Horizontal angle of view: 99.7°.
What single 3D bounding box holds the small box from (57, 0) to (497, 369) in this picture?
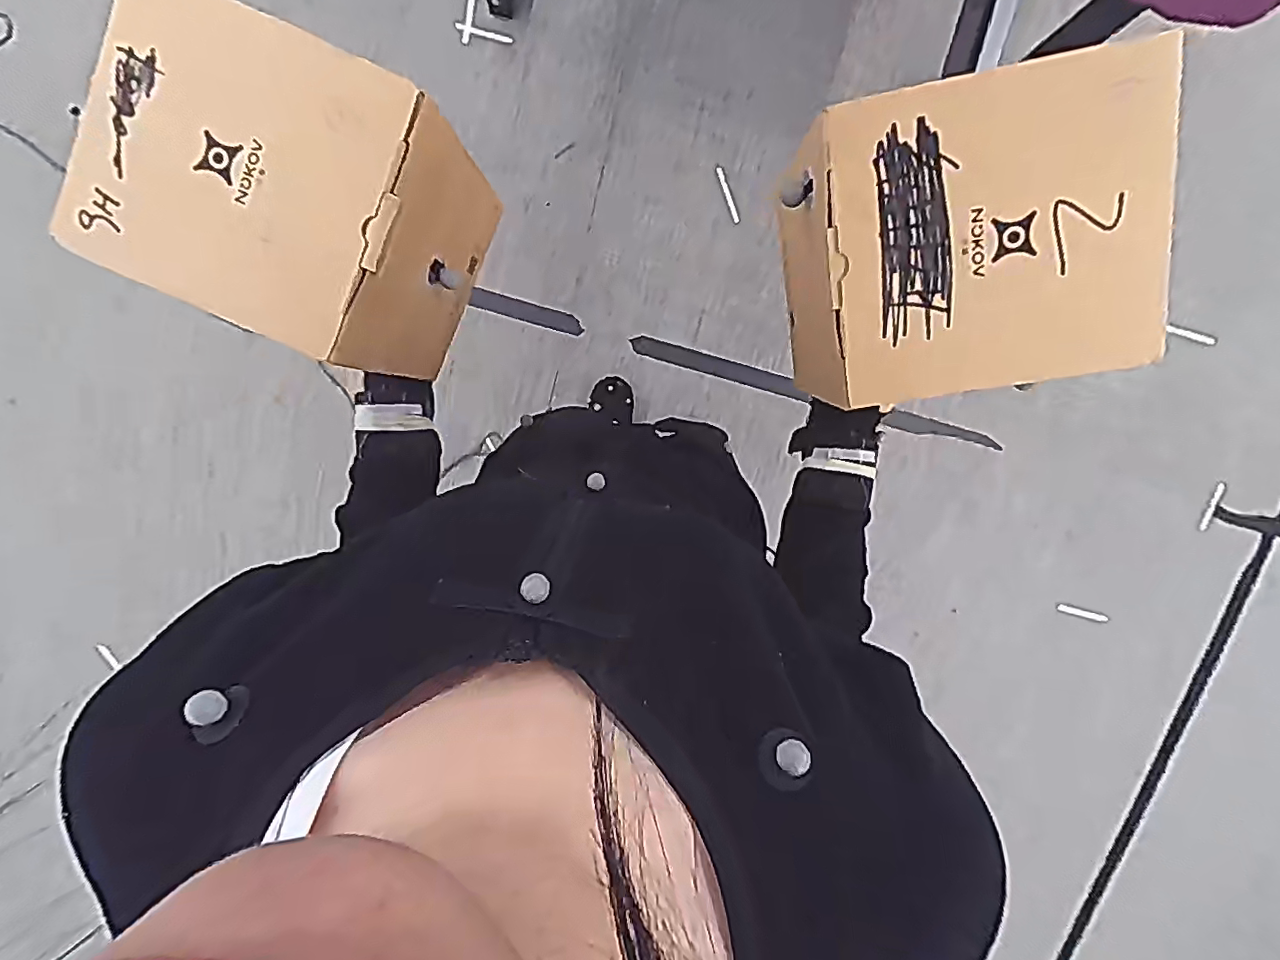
[{"bbox_3d":[-0.224,-0.188,0.385,0.179,0.176,0.168,24,96,-3],"label":"small box"}]
